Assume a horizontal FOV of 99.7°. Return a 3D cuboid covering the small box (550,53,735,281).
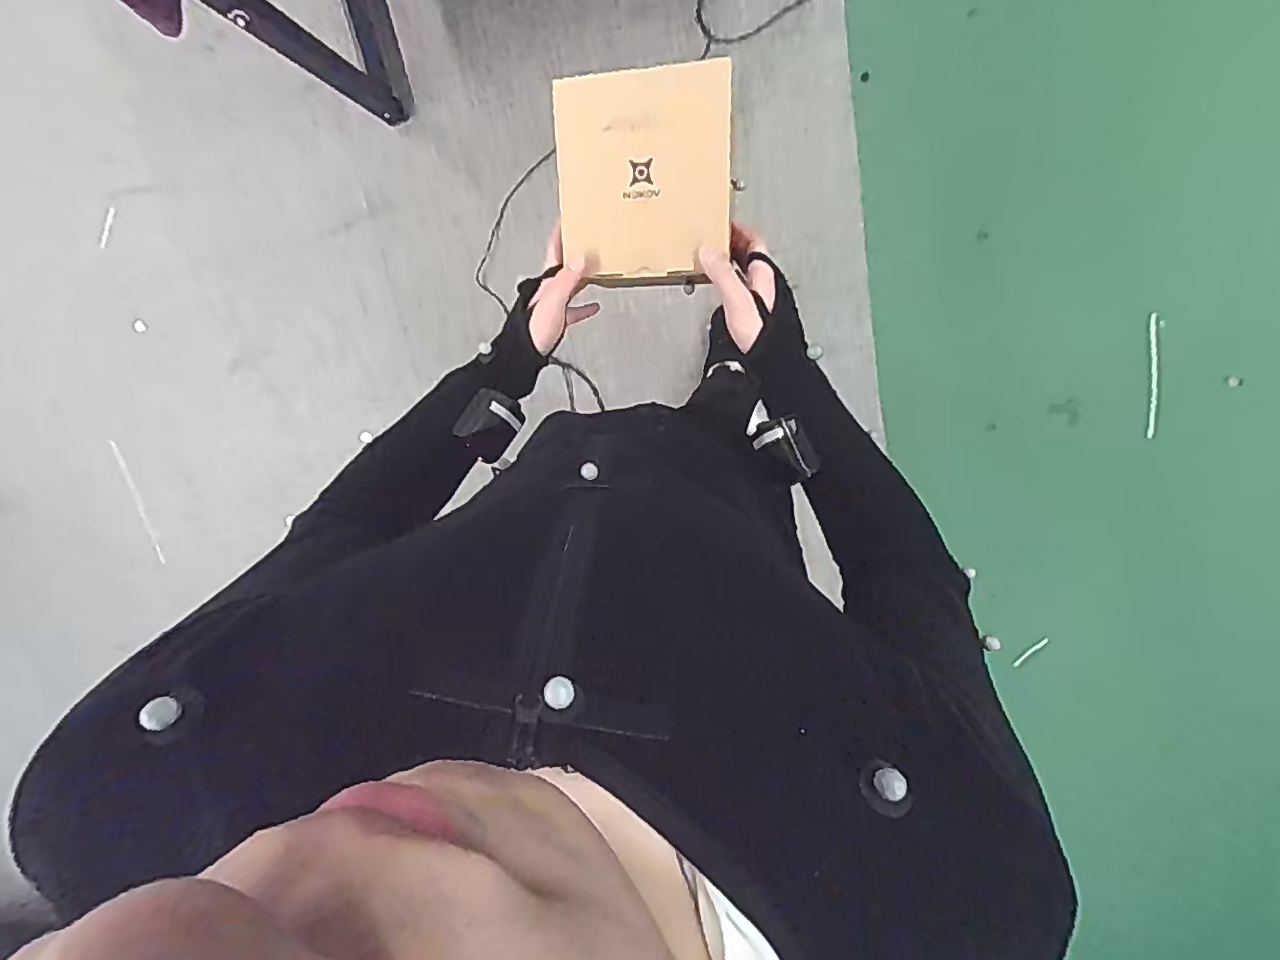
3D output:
[{"bbox_3d":[0.015,-0.309,0.578,0.168,0.176,0.179,2,106,11],"label":"small box"}]
